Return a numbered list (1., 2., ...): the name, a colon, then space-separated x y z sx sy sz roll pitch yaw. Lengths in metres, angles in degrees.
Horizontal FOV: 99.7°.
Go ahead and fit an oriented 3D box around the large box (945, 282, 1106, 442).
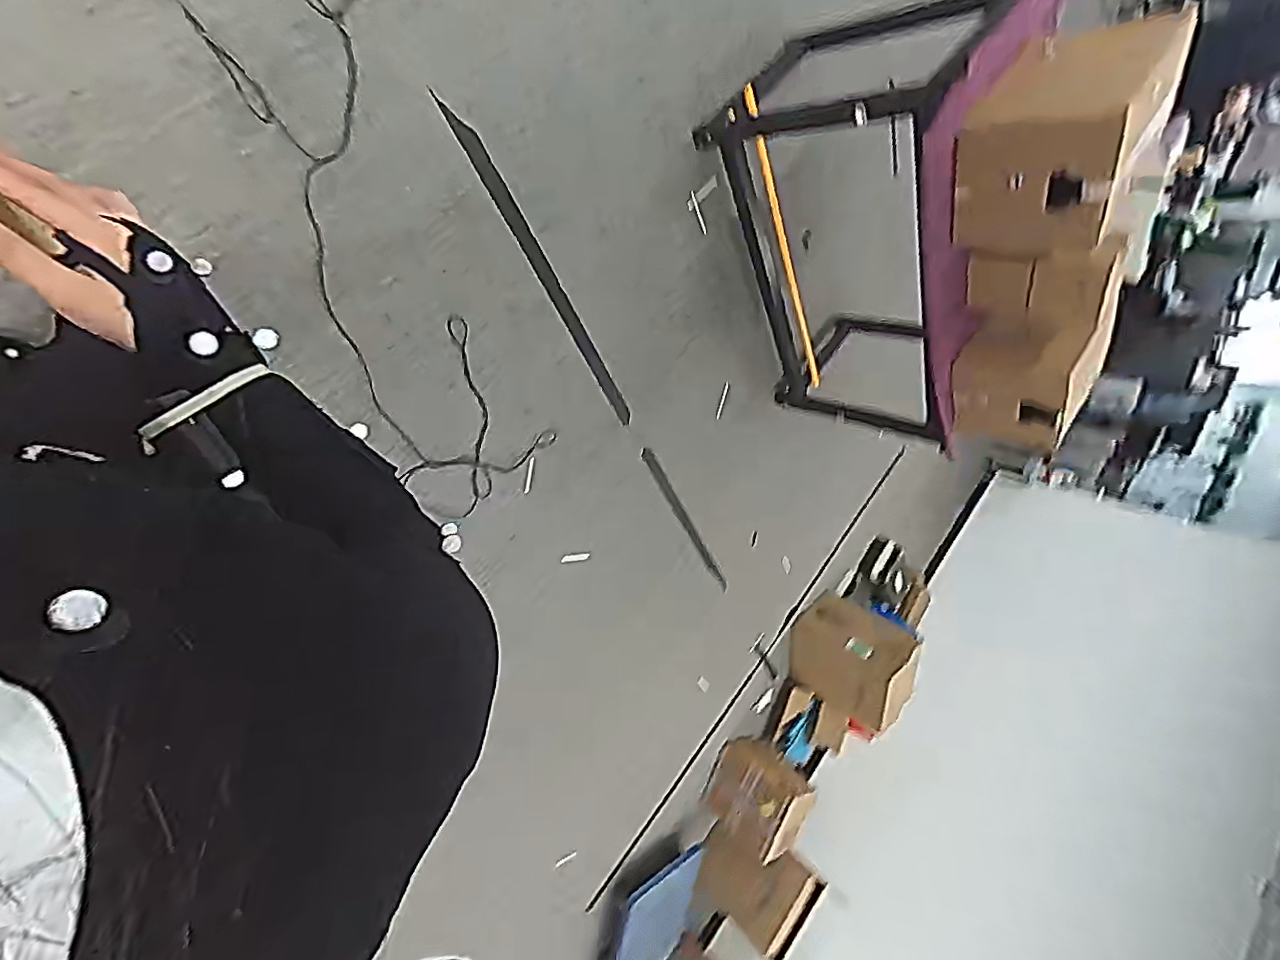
1. large box: 1.250 -0.396 1.779 0.408 0.320 0.320 -51 137 -18
